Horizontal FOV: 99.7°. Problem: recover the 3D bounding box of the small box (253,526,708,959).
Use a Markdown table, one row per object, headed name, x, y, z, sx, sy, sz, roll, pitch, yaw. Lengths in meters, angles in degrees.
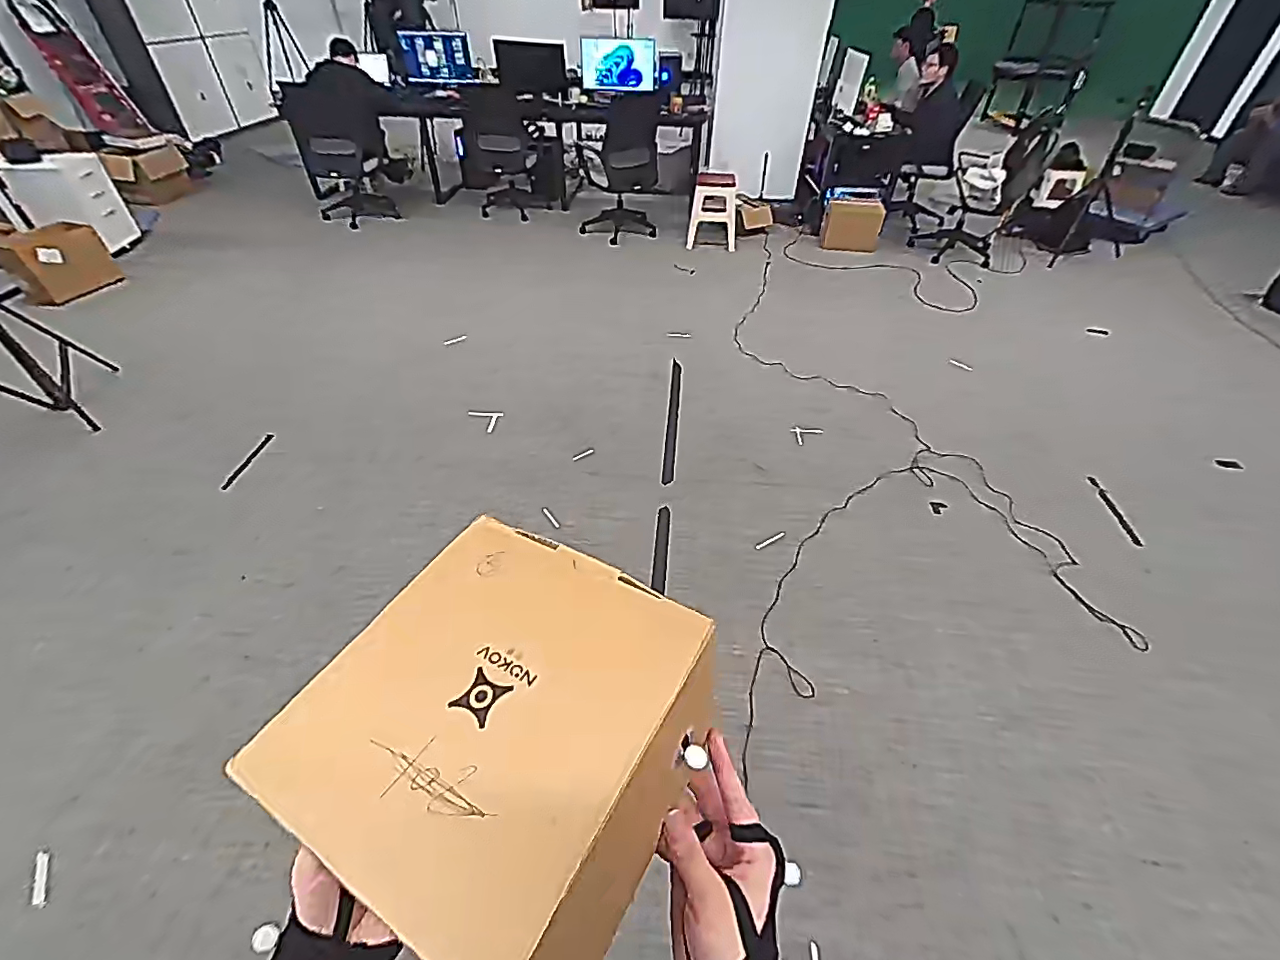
| name | x | y | z | sx | sy | sz | roll | pitch | yaw |
| --- | --- | --- | --- | --- | --- | --- | --- | --- | --- |
| small box | -0.070 | 0.166 | 0.333 | 0.168 | 0.176 | 0.179 | 19 | 51 | 24 |
